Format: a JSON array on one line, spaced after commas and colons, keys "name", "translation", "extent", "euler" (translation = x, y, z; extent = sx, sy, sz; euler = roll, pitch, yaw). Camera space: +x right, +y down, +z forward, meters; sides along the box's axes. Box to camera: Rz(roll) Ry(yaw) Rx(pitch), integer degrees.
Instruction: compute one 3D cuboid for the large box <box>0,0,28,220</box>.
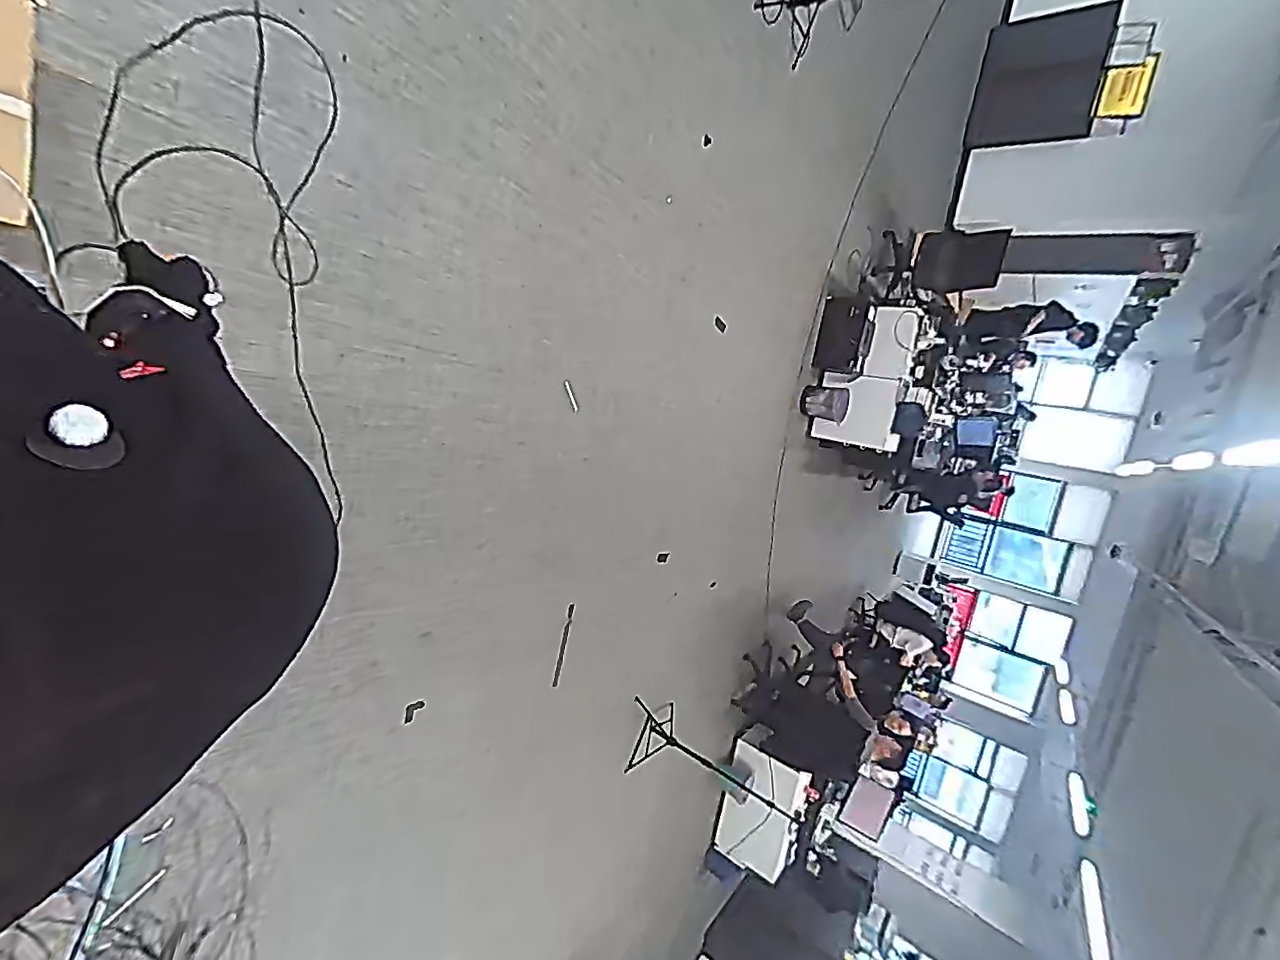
[{"name": "large box", "translation": [-1.091, -0.554, 0.673], "extent": [0.408, 0.320, 0.320], "euler": [0, 104, -55]}]
